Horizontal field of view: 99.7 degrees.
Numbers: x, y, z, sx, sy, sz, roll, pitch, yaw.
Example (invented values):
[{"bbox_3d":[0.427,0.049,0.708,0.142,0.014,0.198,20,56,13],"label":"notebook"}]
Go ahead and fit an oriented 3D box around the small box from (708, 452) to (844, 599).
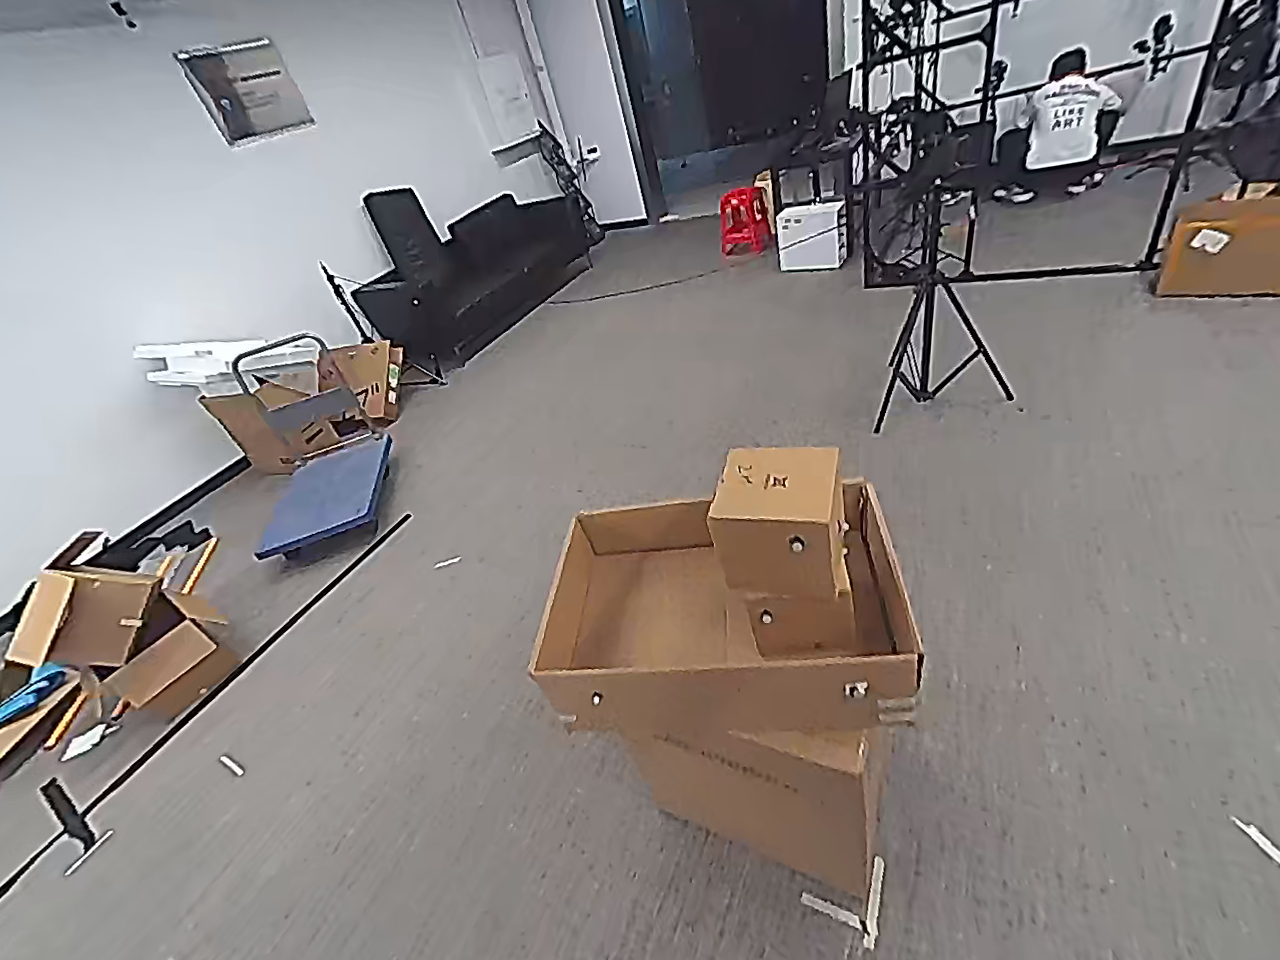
[{"bbox_3d":[0.226,0.072,0.861,0.179,0.176,0.168,0,41,26],"label":"small box"}]
